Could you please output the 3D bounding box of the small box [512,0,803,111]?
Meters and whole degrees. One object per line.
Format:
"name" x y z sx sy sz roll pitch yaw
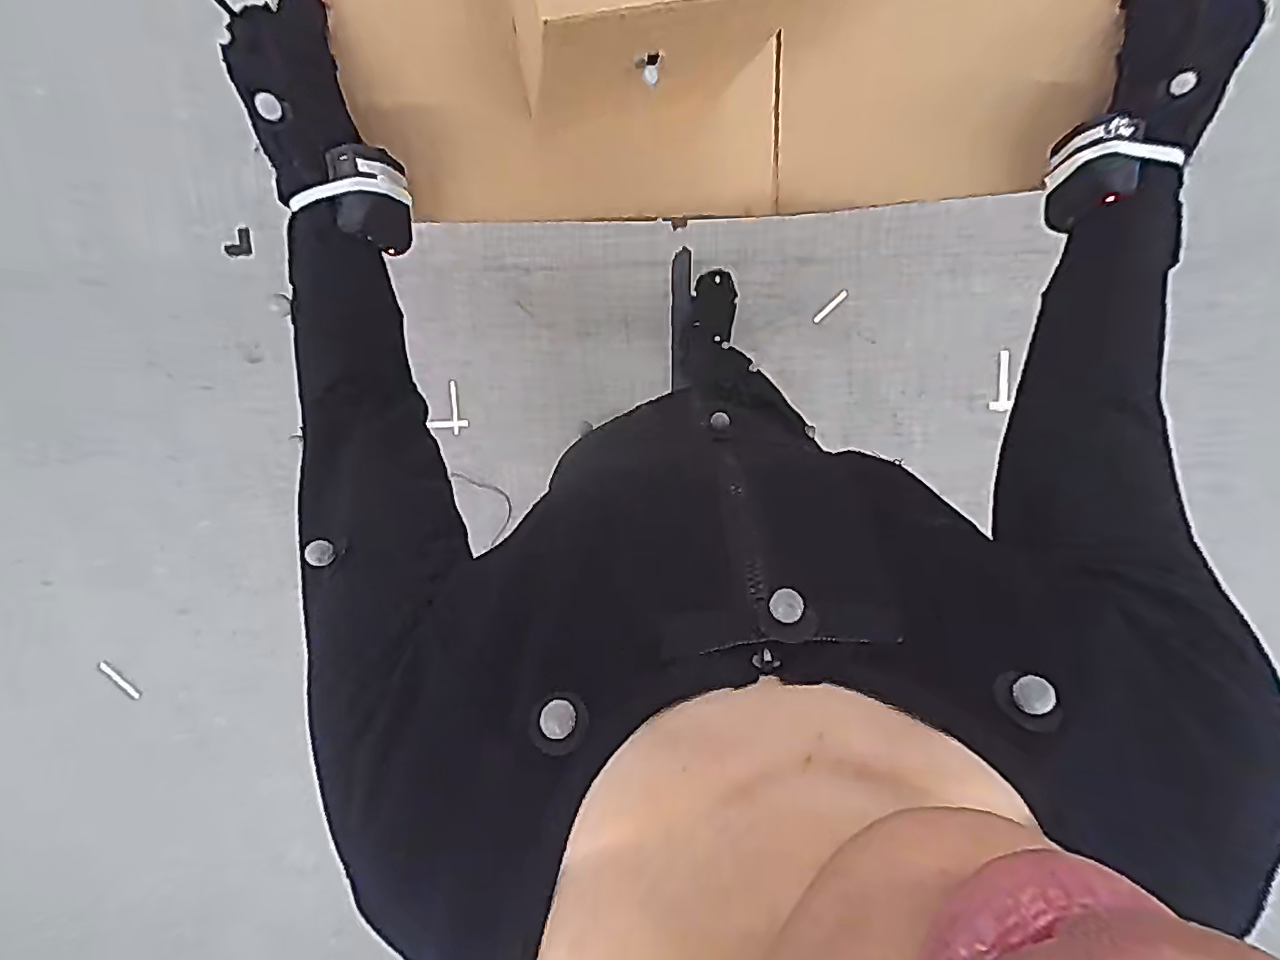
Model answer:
"small box" -0.003 -0.386 0.373 0.179 0.176 0.168 -15 109 -7
